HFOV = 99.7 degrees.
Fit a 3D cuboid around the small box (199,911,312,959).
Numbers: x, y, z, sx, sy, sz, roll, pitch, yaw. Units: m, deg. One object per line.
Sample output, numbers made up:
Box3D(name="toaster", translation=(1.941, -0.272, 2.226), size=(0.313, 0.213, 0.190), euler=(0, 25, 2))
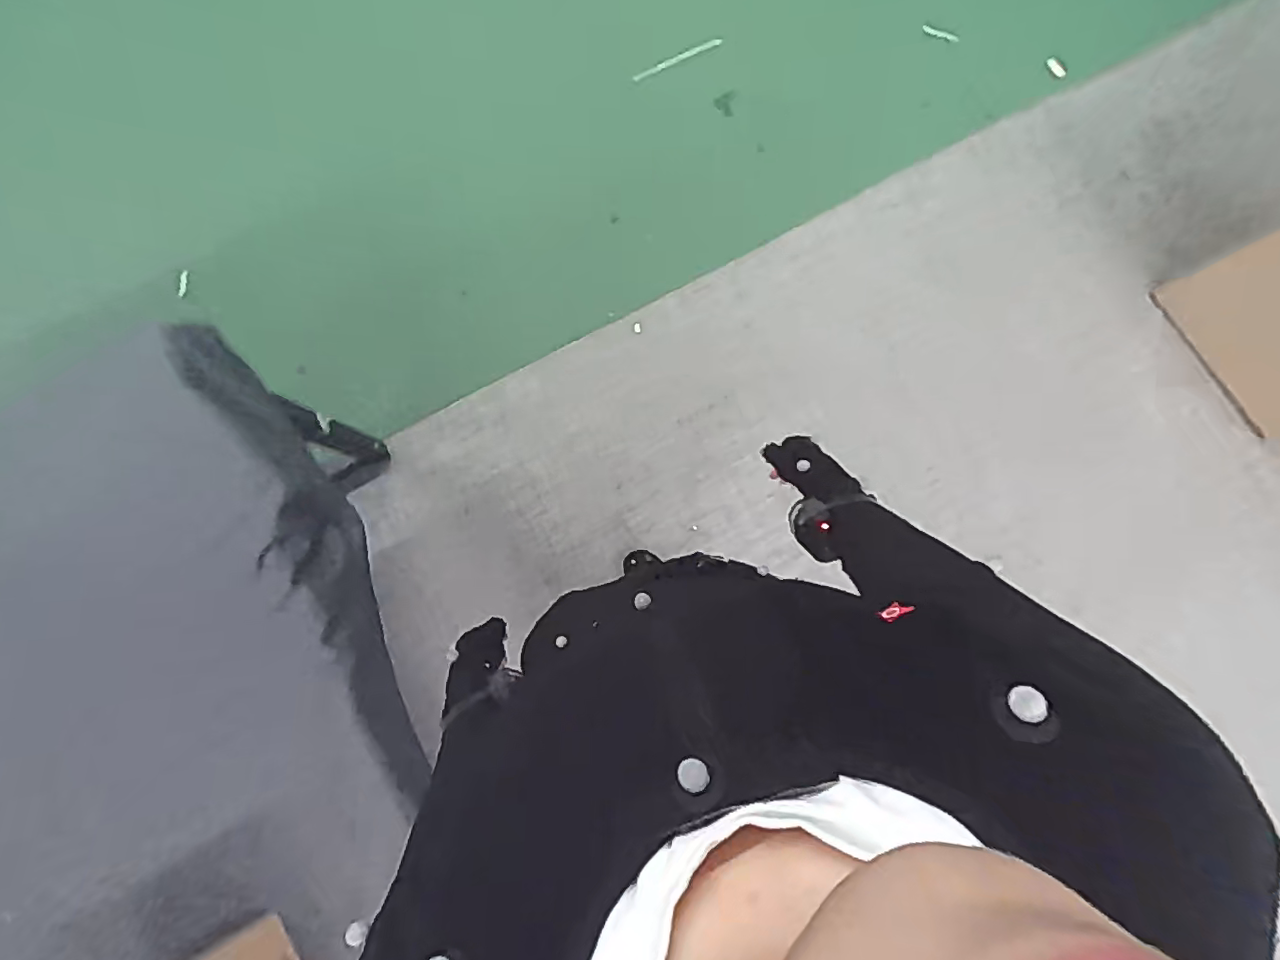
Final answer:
Box3D(name="small box", translation=(-0.478, 0.642, 0.599), size=(0.179, 0.176, 0.168), euler=(-31, 84, -3))
